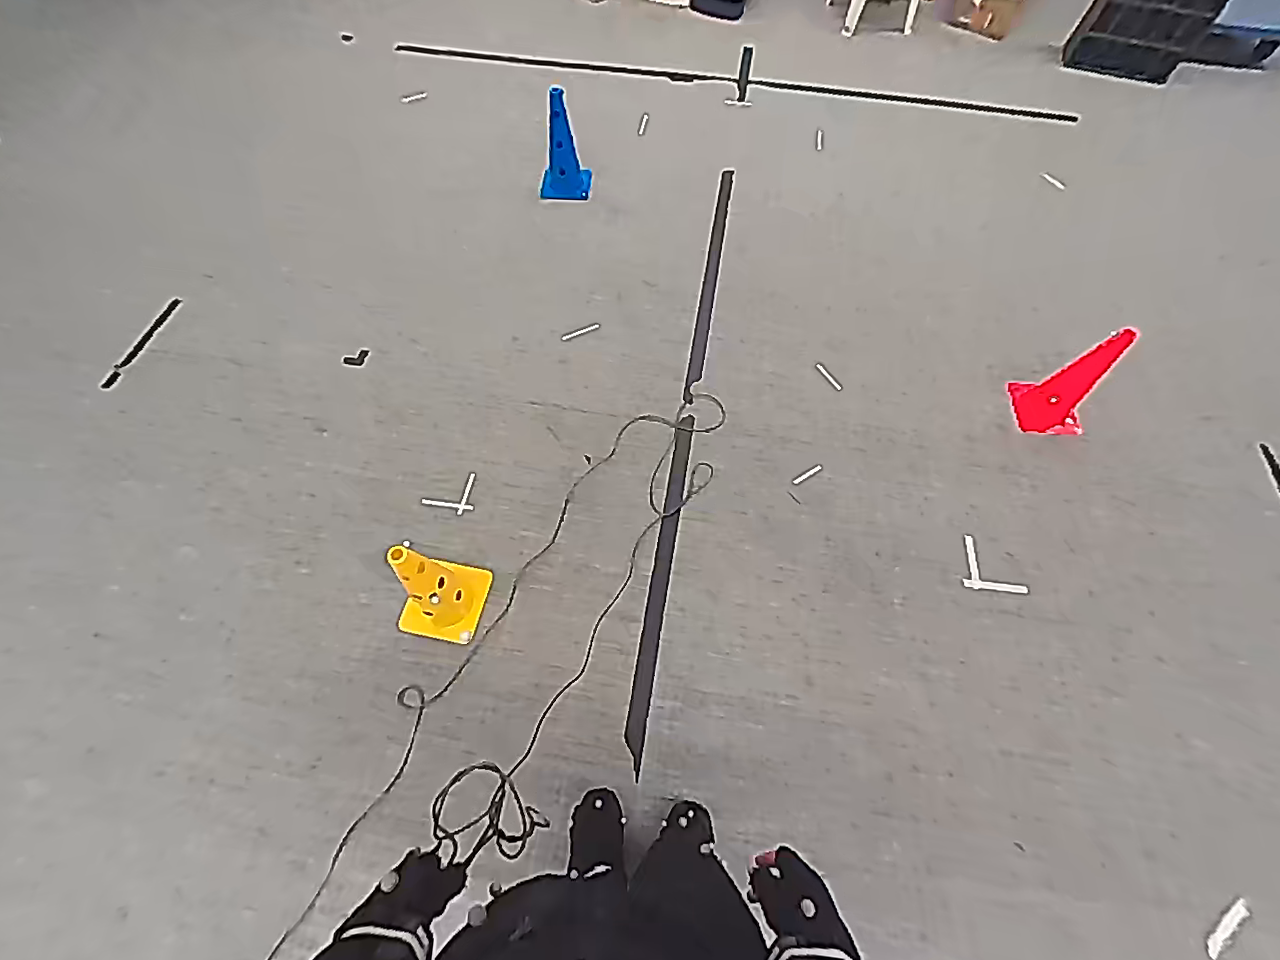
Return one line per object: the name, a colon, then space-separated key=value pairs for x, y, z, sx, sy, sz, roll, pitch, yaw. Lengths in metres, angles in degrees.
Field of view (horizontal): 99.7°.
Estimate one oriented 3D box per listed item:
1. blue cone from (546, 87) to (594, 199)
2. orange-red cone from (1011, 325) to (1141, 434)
blue cone: x=-0.287 y=-1.315 z=2.105 sx=0.192 sy=0.380 sz=0.193 roll=5 pitch=62 yaw=1
orange-red cone: x=1.326 y=-0.323 z=1.610 sx=0.198 sy=0.360 sz=0.199 roll=6 pitch=61 yaw=1
